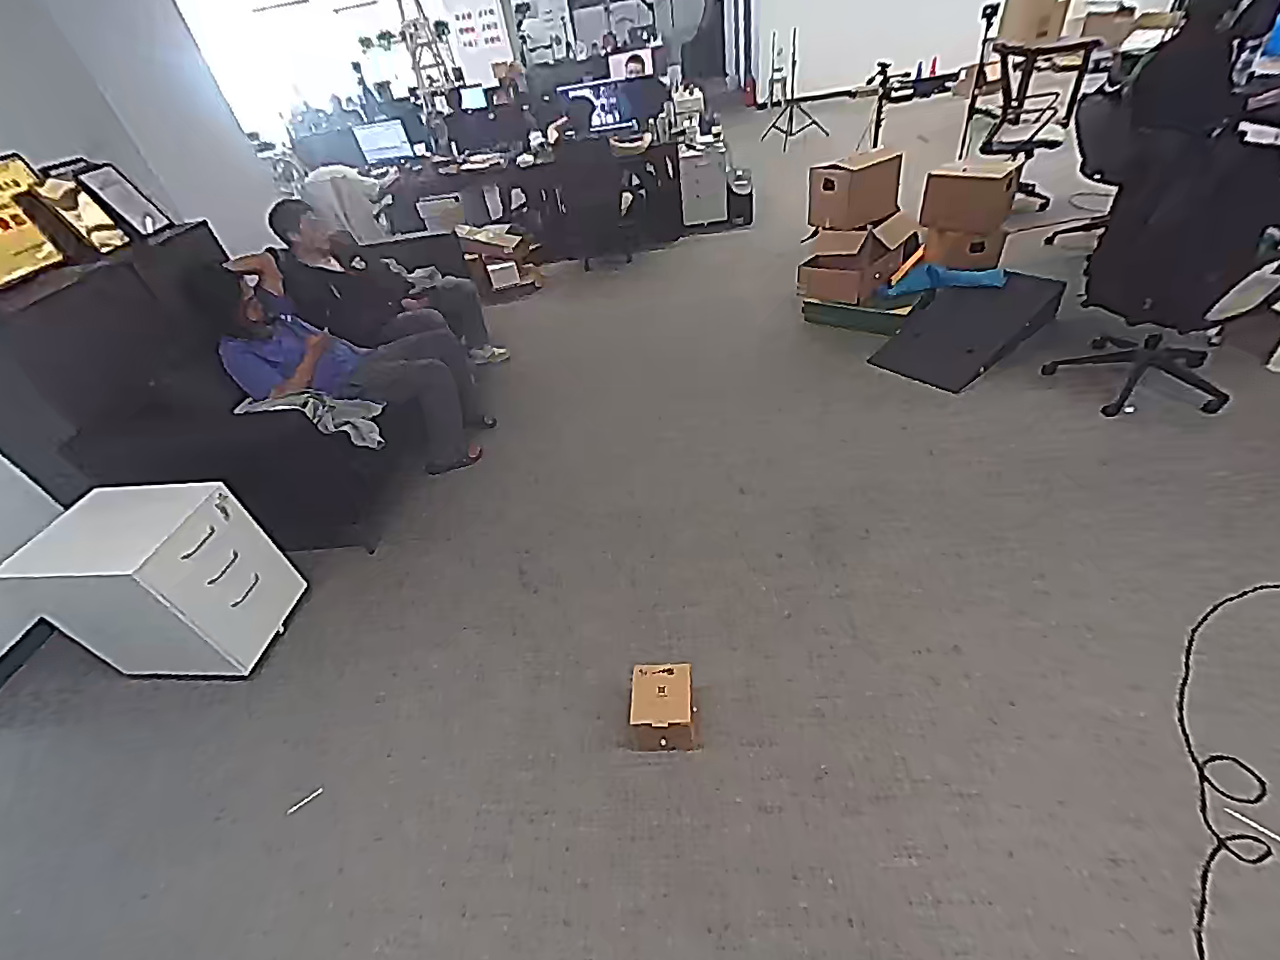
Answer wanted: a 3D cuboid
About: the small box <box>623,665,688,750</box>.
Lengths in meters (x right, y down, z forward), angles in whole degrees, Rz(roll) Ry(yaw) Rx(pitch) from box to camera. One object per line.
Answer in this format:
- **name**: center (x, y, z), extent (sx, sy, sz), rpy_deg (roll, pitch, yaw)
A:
- **small box**: center (0.048, 0.661, 1.560), extent (0.168, 0.176, 0.179), rpy_deg (-6, 40, 6)
